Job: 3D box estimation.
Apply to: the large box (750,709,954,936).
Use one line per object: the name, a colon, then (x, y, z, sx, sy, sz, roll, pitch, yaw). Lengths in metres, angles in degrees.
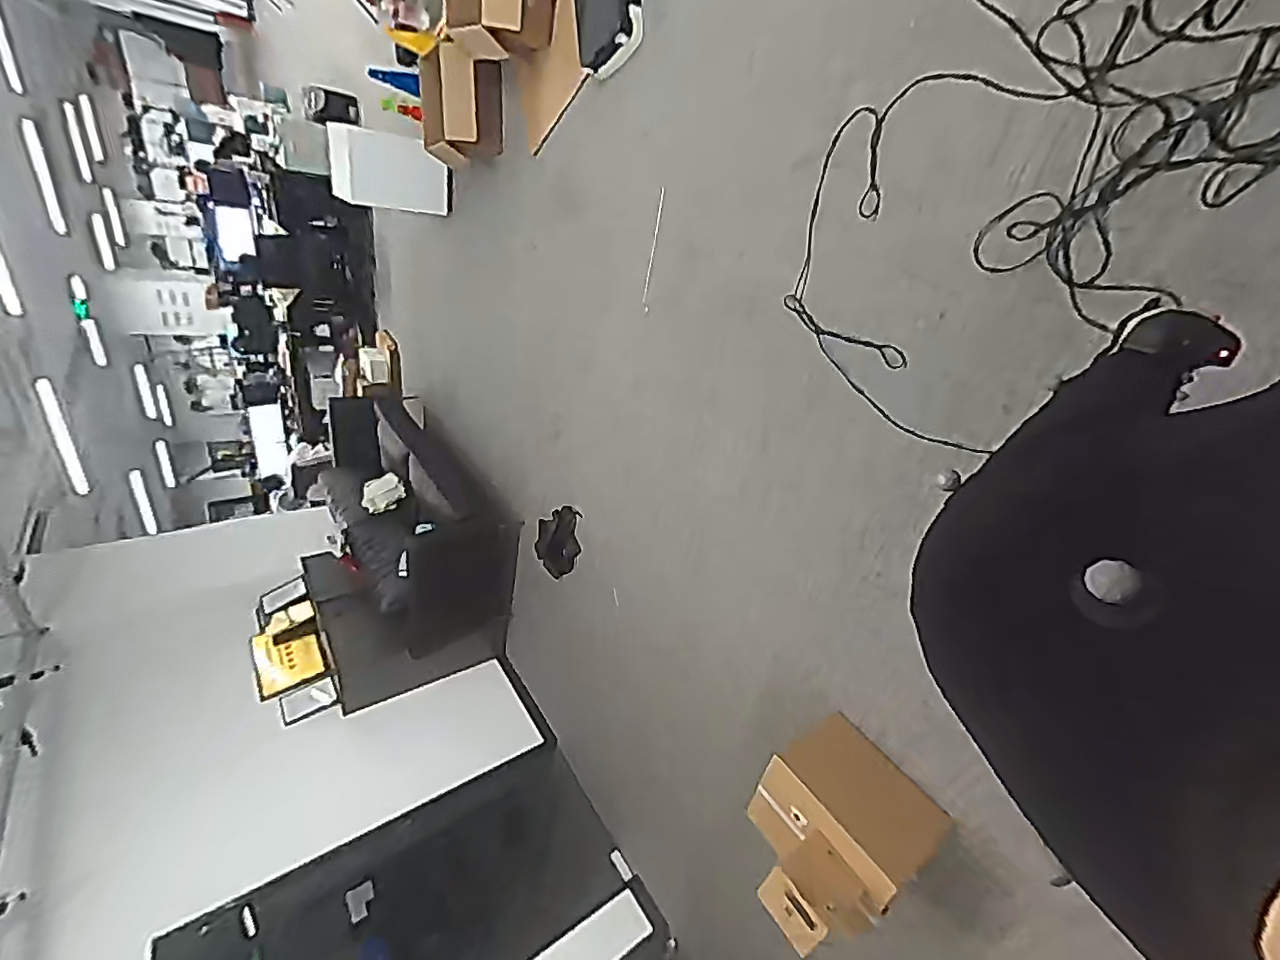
large box: (0.605, 0.975, 1.587, 0.408, 0.320, 0.320, 41, 130, 41)
